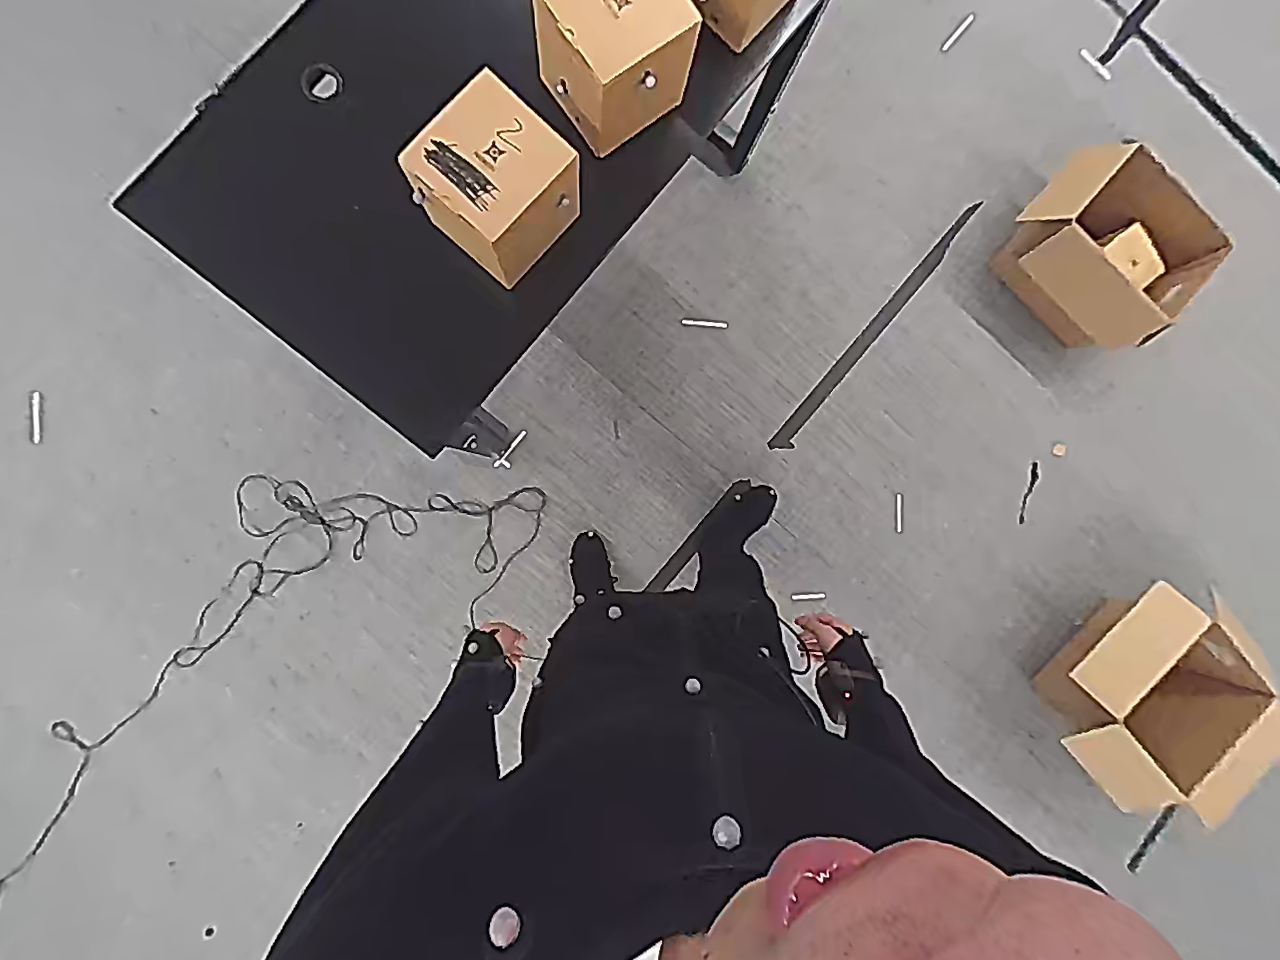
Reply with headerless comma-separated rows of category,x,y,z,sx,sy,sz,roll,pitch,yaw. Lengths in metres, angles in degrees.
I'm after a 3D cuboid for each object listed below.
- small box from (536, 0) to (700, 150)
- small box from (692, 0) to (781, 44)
small box,-0.040,-0.650,0.807,0.179,0.176,0.168,-37,93,-4
small box,0.166,-0.840,0.823,0.168,0.176,0.179,41,88,-4
